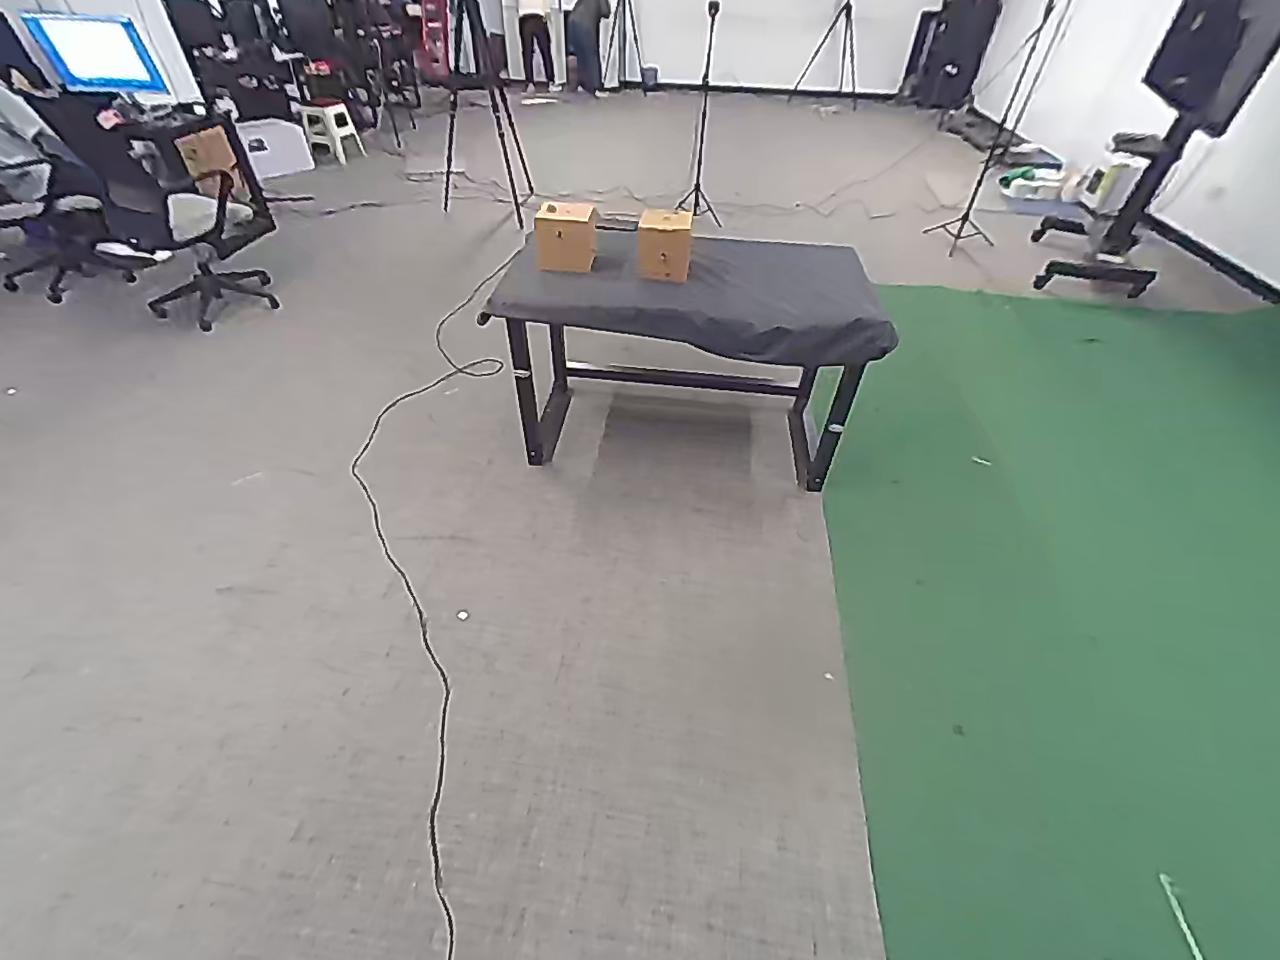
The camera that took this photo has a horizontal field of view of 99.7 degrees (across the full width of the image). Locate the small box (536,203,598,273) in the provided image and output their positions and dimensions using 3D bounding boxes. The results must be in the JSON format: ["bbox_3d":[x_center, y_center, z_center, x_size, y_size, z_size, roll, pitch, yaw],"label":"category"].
[{"bbox_3d":[-0.240,-0.814,1.822,0.179,0.176,0.168,5,44,1],"label":"small box"}]

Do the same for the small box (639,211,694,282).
[{"bbox_3d":[0.088,-0.774,1.796,0.168,0.176,0.179,6,44,4],"label":"small box"}]
